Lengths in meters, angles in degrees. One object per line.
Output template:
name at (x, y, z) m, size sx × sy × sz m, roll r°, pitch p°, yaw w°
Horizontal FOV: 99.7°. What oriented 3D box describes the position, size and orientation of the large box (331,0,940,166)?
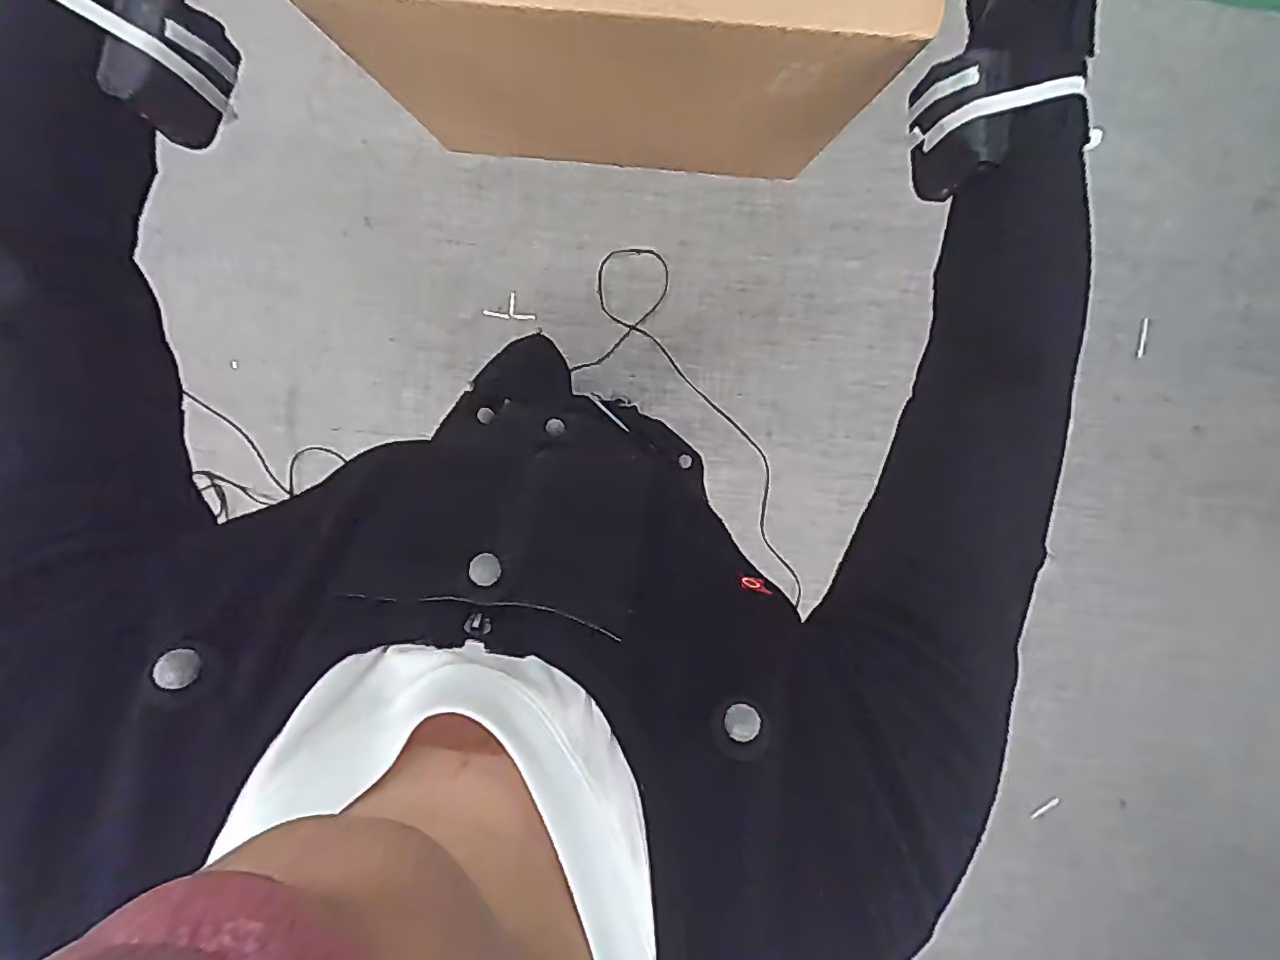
large box at (-0.006, -0.480, 0.439) m, size 0.408 × 0.320 × 0.320 m, roll 4°, pitch 105°, yaw -2°
